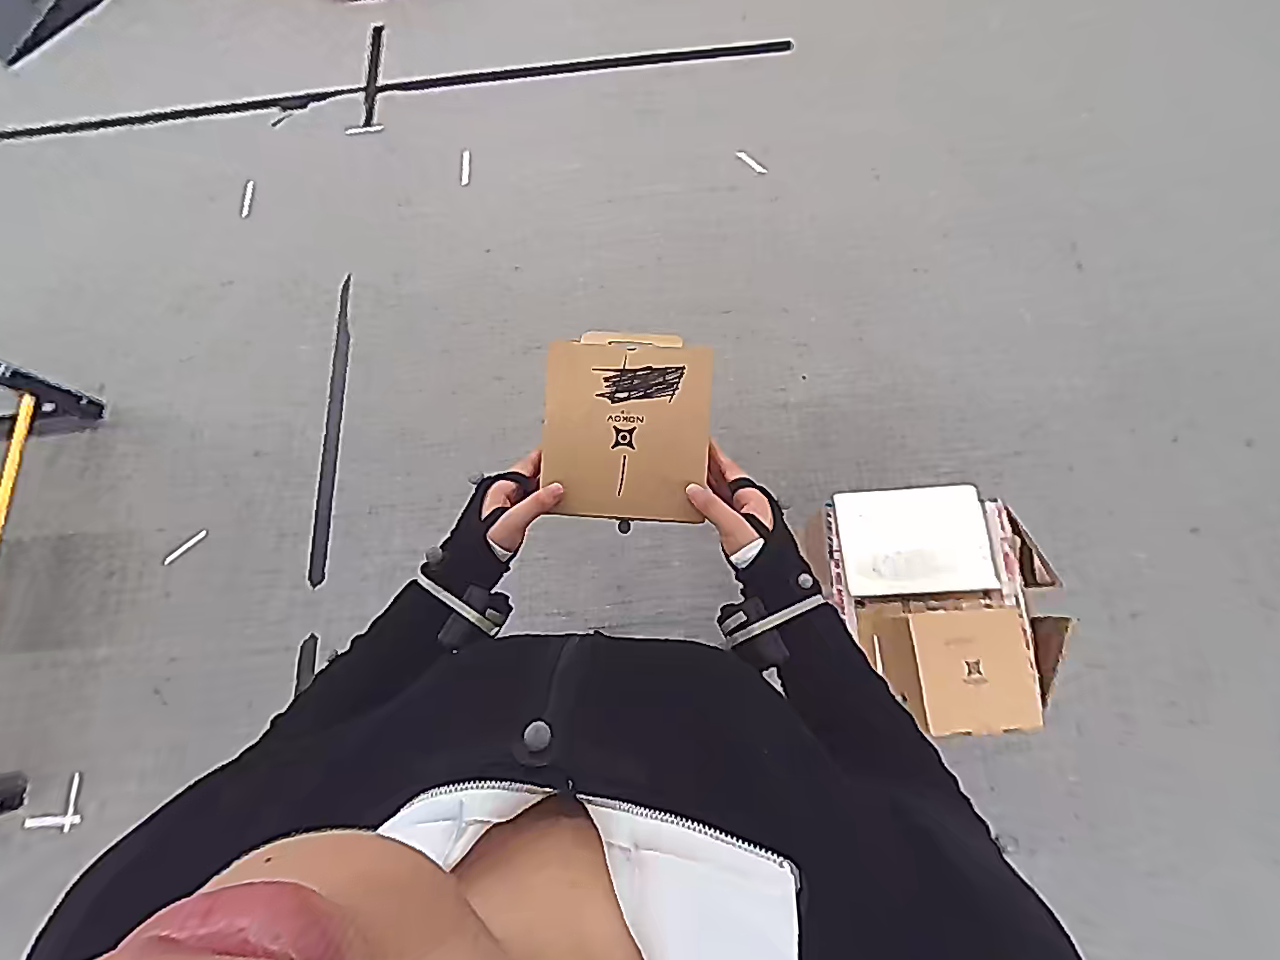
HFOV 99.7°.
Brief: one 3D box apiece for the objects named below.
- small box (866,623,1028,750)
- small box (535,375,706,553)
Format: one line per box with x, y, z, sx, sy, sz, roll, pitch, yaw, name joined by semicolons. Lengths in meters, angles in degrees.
0.501;0.338;0.911;0.168;0.176;0.179;-6;75;2;small box
-0.016;-0.011;0.624;0.168;0.176;0.179;3;86;4;small box
